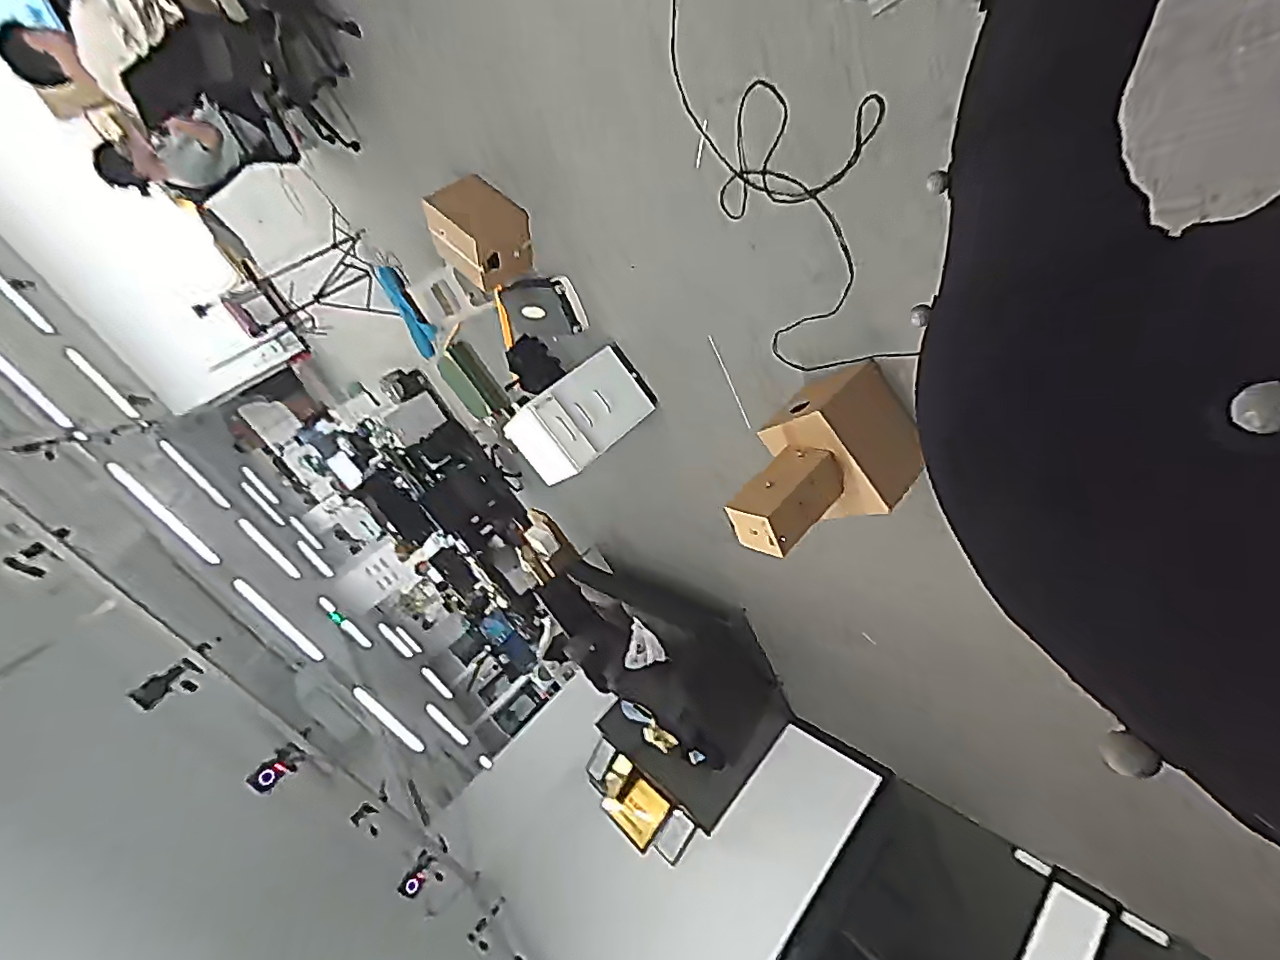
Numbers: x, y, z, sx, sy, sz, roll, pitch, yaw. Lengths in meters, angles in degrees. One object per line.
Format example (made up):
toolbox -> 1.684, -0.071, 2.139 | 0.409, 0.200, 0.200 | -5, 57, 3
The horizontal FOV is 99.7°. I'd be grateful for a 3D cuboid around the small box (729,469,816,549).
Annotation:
small box -> 0.417, 0.084, 1.693 | 0.179, 0.176, 0.168 | 16, 142, 53
